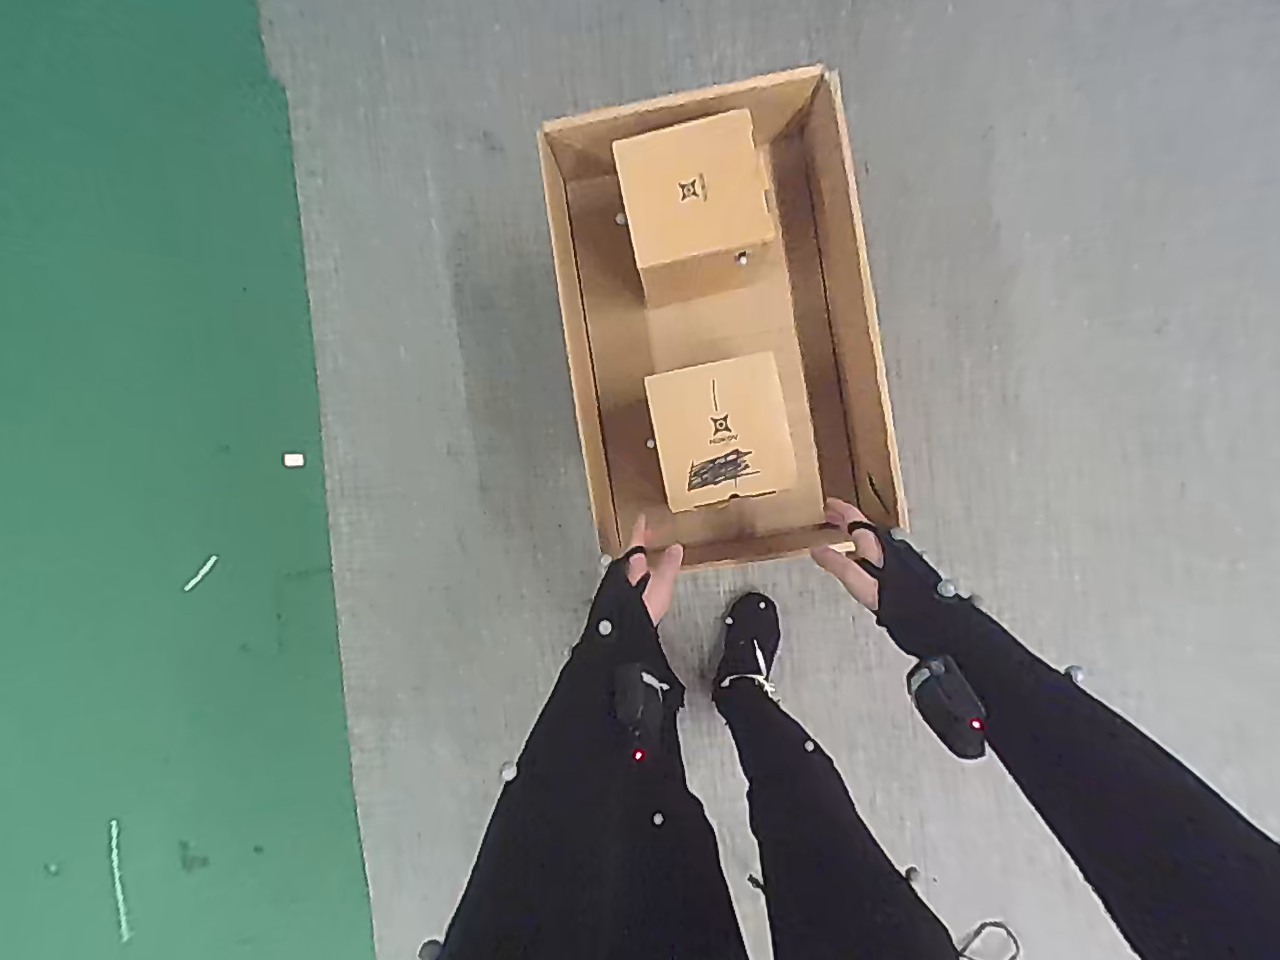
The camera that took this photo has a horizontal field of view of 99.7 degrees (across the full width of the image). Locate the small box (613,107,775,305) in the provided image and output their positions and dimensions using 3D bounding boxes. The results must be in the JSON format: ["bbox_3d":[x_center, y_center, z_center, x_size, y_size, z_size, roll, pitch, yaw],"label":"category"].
[{"bbox_3d":[0.072,-0.359,0.744,0.179,0.176,0.168,-12,89,4],"label":"small box"}]
